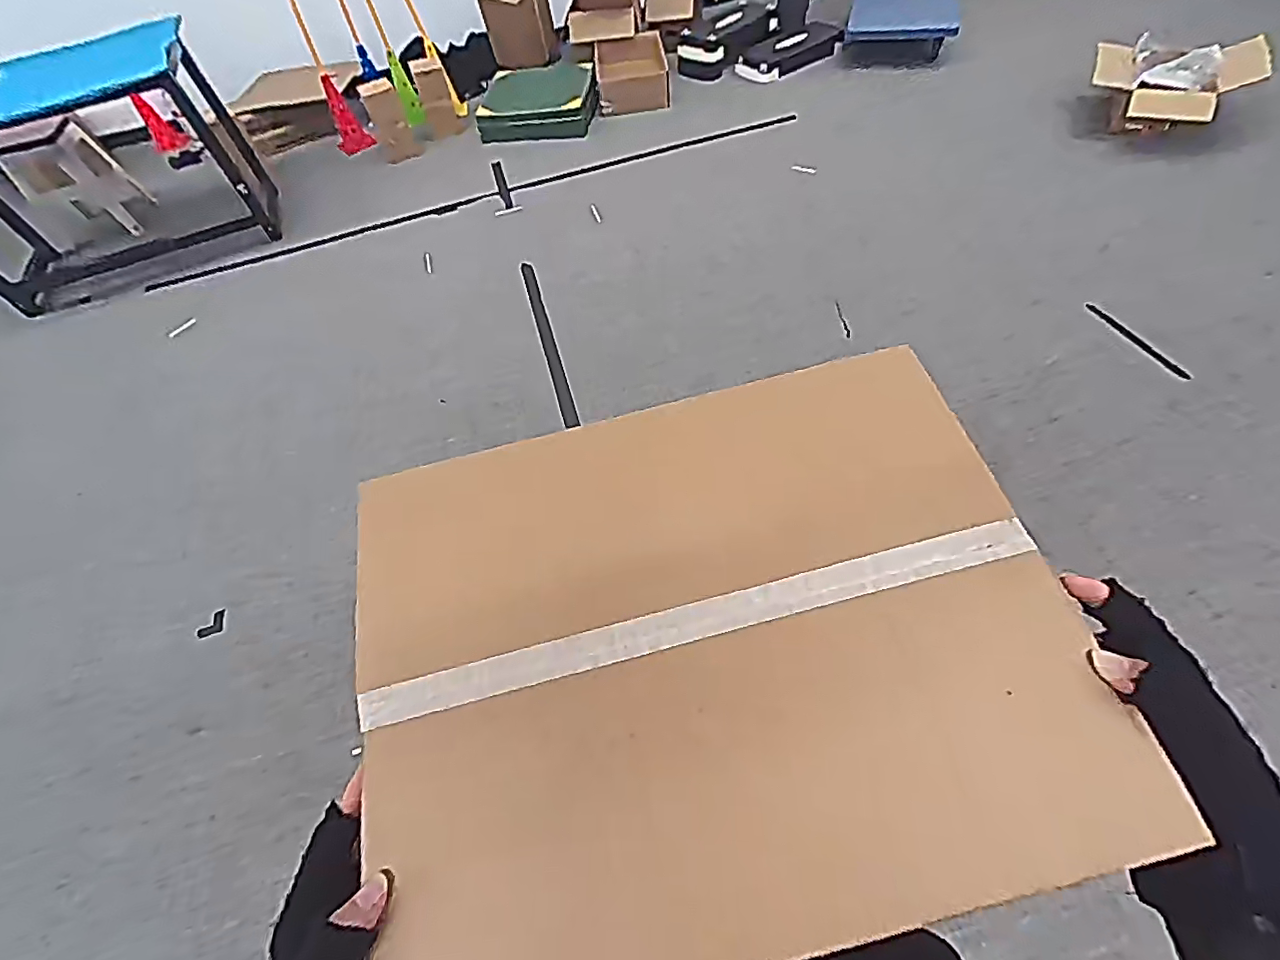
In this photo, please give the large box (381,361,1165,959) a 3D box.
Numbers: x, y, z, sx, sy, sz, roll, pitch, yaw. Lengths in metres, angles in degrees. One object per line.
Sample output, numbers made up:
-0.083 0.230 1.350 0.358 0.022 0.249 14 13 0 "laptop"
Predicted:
0.051 0.158 0.463 0.408 0.320 0.320 -15 63 -1 "large box"
